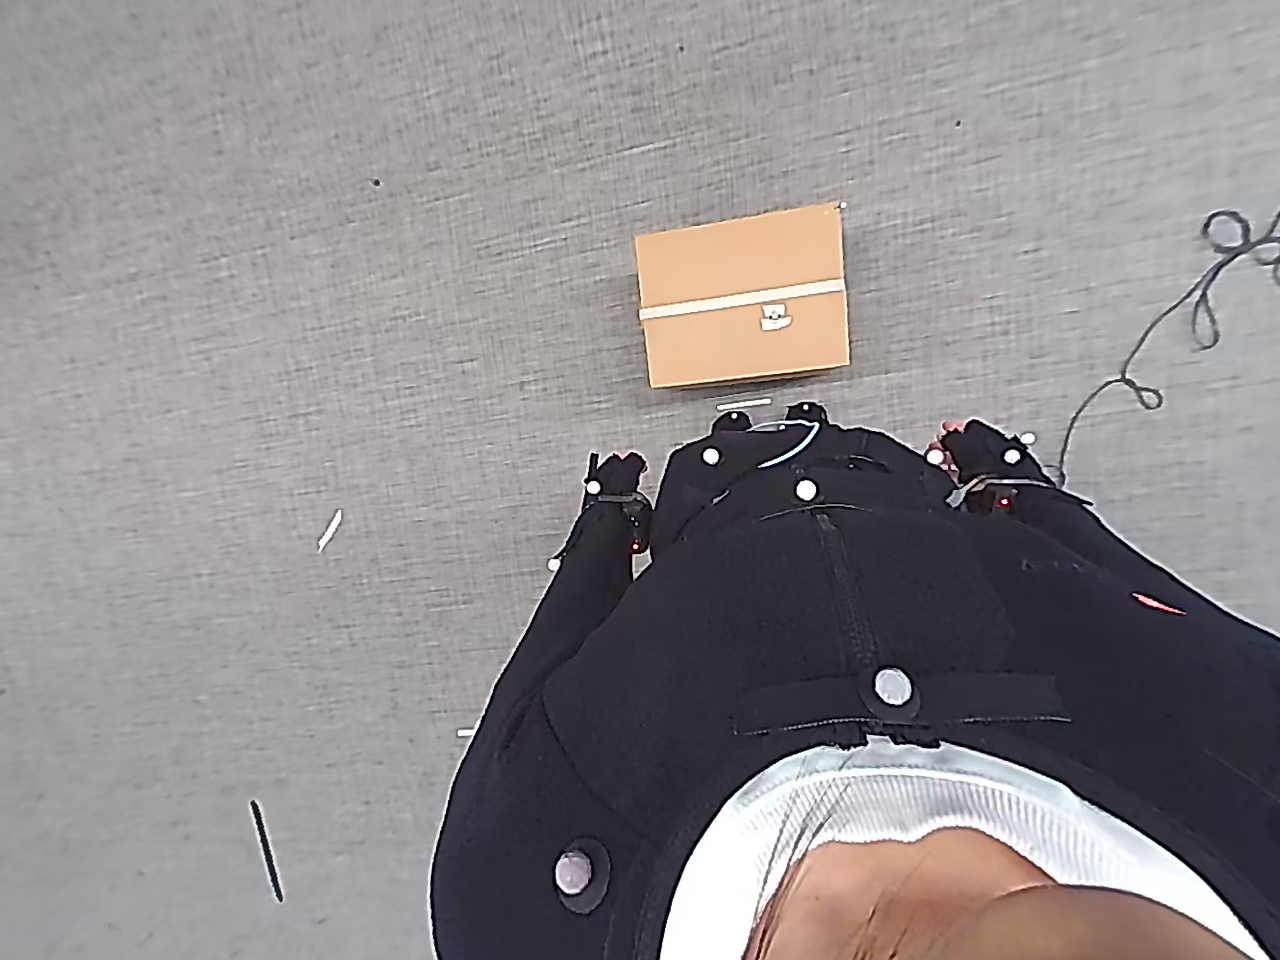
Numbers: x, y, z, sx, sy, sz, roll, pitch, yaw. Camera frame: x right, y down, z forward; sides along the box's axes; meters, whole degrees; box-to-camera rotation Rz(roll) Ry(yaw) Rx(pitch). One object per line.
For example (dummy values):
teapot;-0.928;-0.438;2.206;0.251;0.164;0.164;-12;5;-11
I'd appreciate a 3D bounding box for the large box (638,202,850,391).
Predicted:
large box;0.231;-0.386;1.241;0.408;0.320;0.320;-5;98;11
